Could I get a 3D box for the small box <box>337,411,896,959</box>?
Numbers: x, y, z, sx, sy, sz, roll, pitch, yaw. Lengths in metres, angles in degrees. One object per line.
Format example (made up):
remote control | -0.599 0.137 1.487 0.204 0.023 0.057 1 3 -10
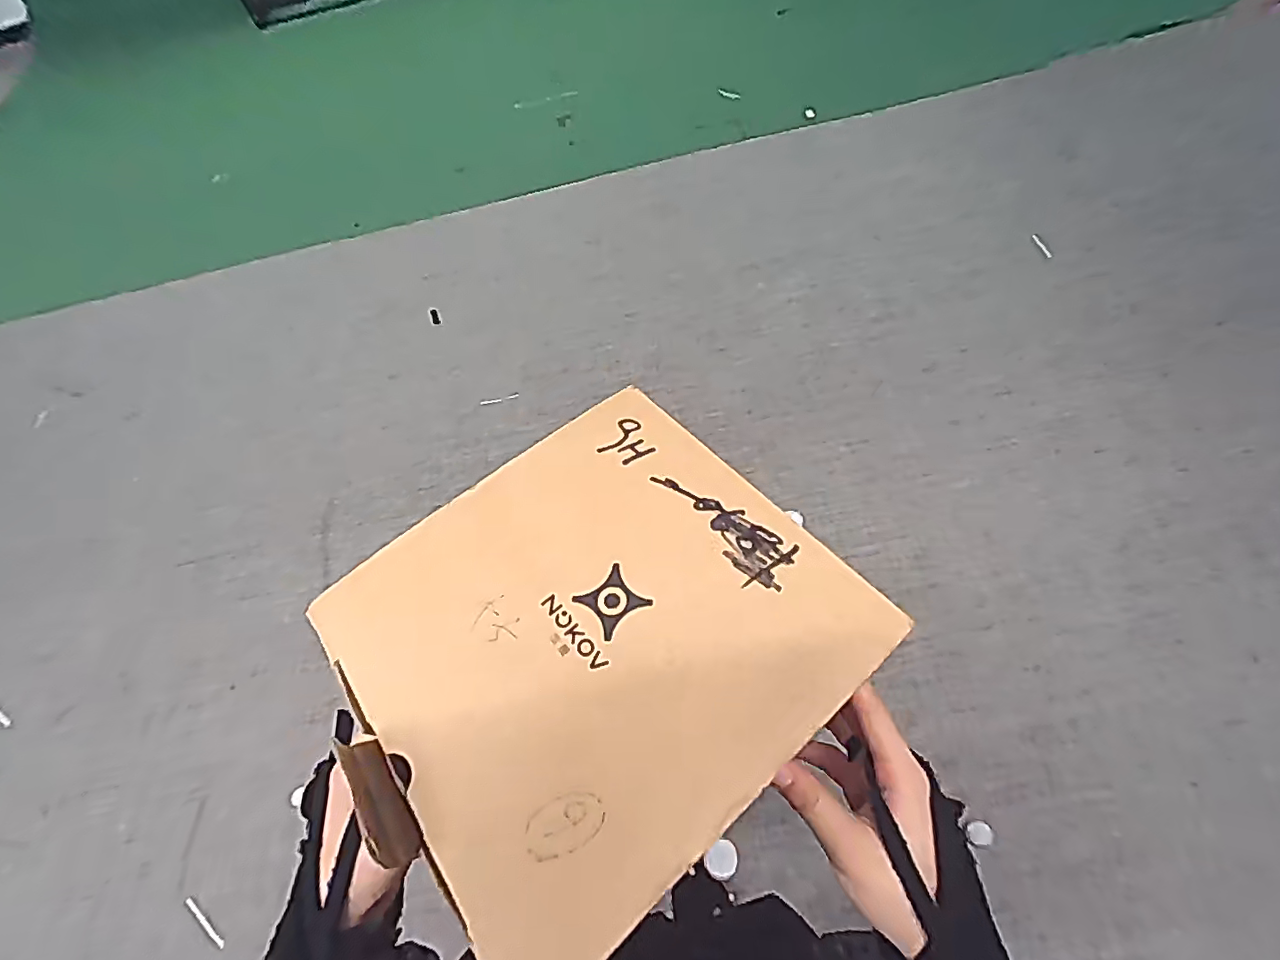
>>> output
small box | -0.008 0.105 0.286 0.179 0.176 0.168 -37 61 -17
